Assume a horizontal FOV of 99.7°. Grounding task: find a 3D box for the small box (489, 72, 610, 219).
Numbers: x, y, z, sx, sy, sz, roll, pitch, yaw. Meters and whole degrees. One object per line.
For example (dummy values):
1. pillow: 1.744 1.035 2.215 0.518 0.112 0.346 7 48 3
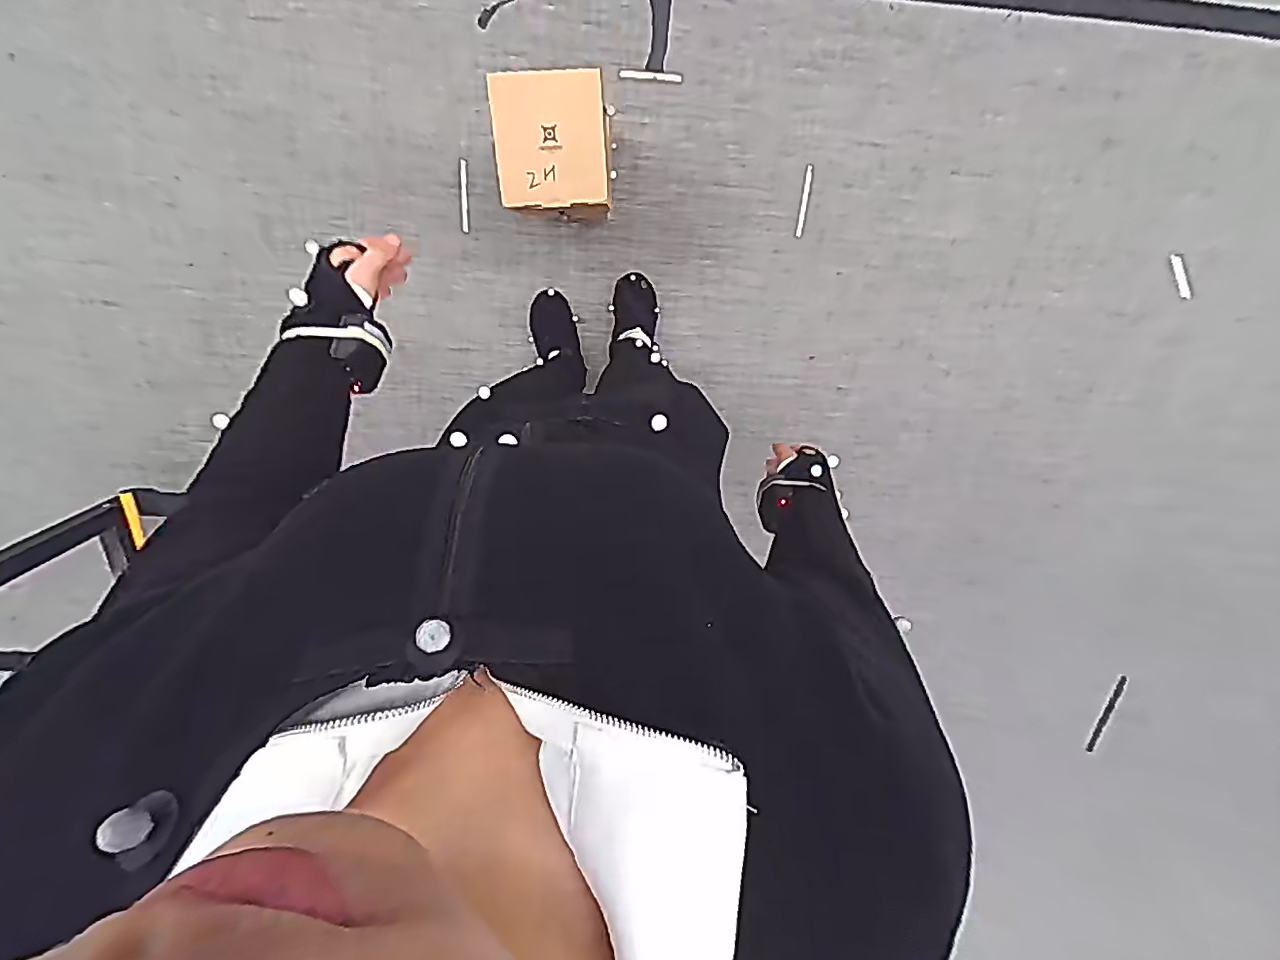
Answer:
1. small box: -0.136 -0.528 0.875 0.168 0.176 0.179 -2 113 0
